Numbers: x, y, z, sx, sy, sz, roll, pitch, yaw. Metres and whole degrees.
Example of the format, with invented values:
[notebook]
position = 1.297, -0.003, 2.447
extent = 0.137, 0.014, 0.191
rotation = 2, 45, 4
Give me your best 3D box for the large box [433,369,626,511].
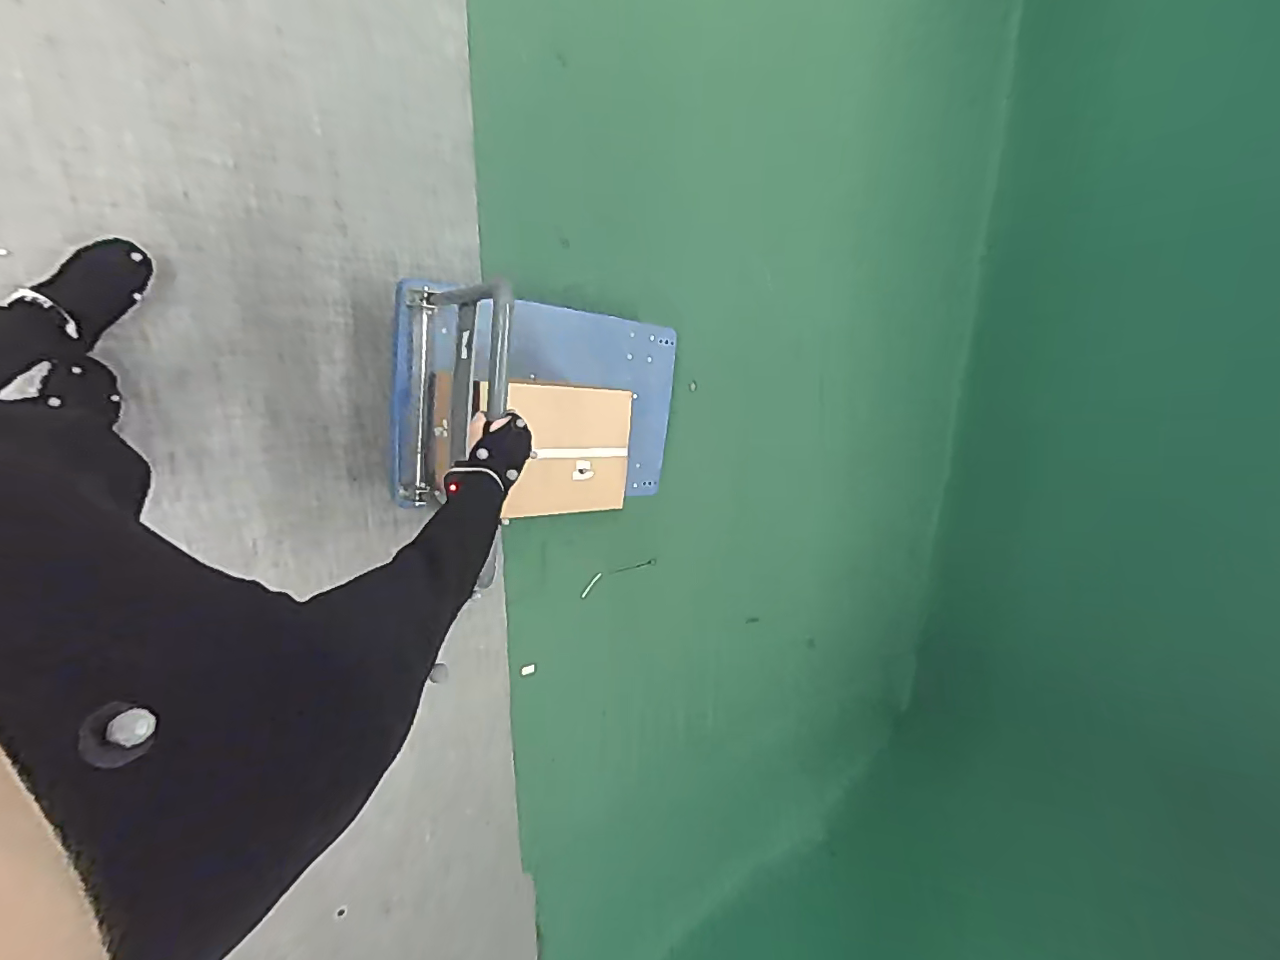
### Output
[large box]
position = -0.295, -0.120, 1.417
extent = 0.408, 0.320, 0.320
rotation = -4, 105, -38
